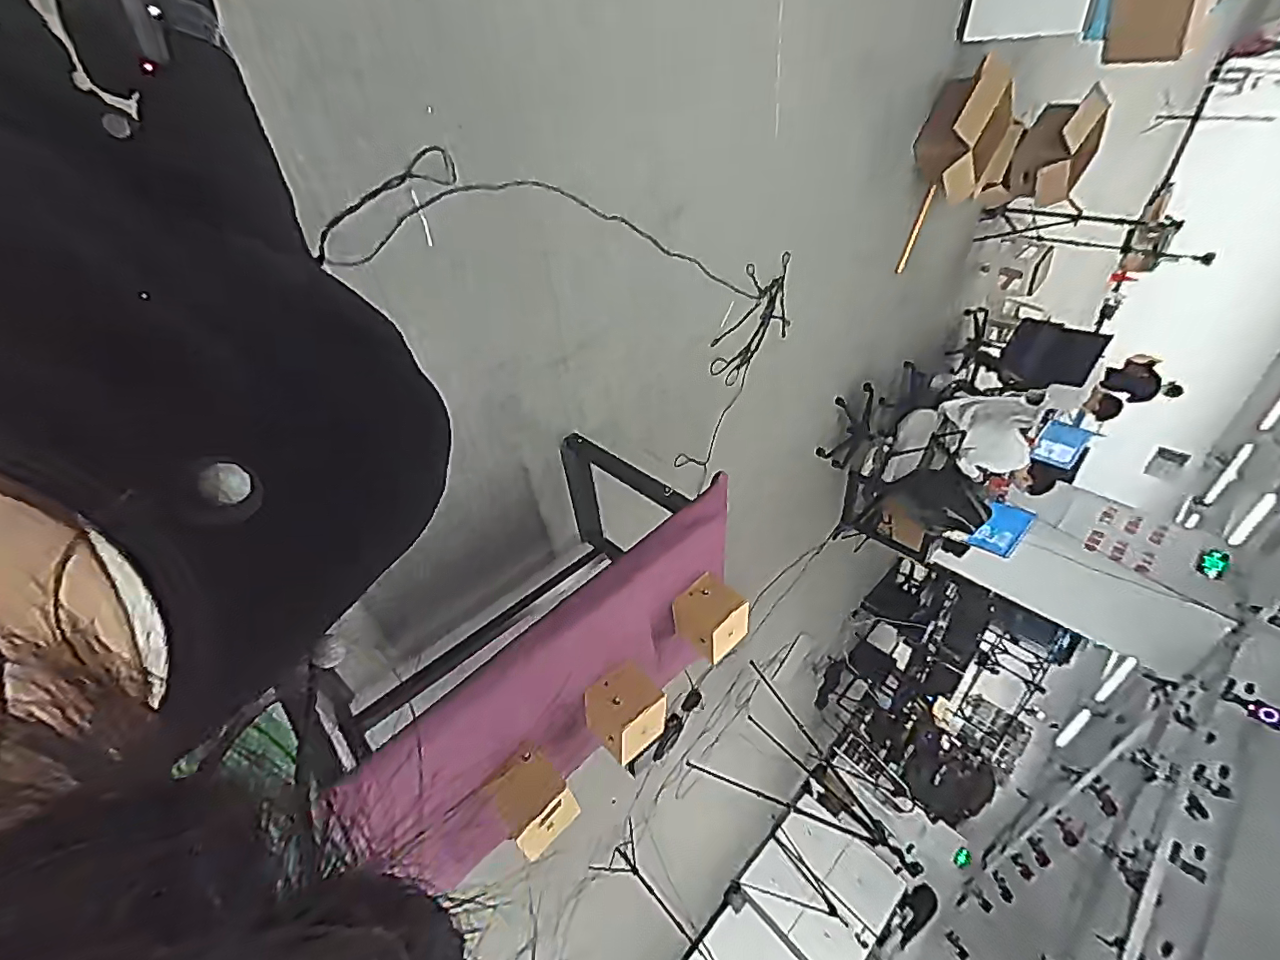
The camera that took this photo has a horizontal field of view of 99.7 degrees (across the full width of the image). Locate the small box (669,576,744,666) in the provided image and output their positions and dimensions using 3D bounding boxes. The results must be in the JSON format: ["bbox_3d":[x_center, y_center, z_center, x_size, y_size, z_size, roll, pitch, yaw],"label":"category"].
[{"bbox_3d":[0.206,0.437,1.692,0.168,0.176,0.179,-34,136,-29],"label":"small box"}]

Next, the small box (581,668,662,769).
[{"bbox_3d":[-0.057,0.670,1.549,0.168,0.176,0.179,-25,131,-36],"label":"small box"}]

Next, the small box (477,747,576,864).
[{"bbox_3d":[-0.291,0.825,1.384,0.168,0.176,0.179,-35,138,-28],"label":"small box"}]
